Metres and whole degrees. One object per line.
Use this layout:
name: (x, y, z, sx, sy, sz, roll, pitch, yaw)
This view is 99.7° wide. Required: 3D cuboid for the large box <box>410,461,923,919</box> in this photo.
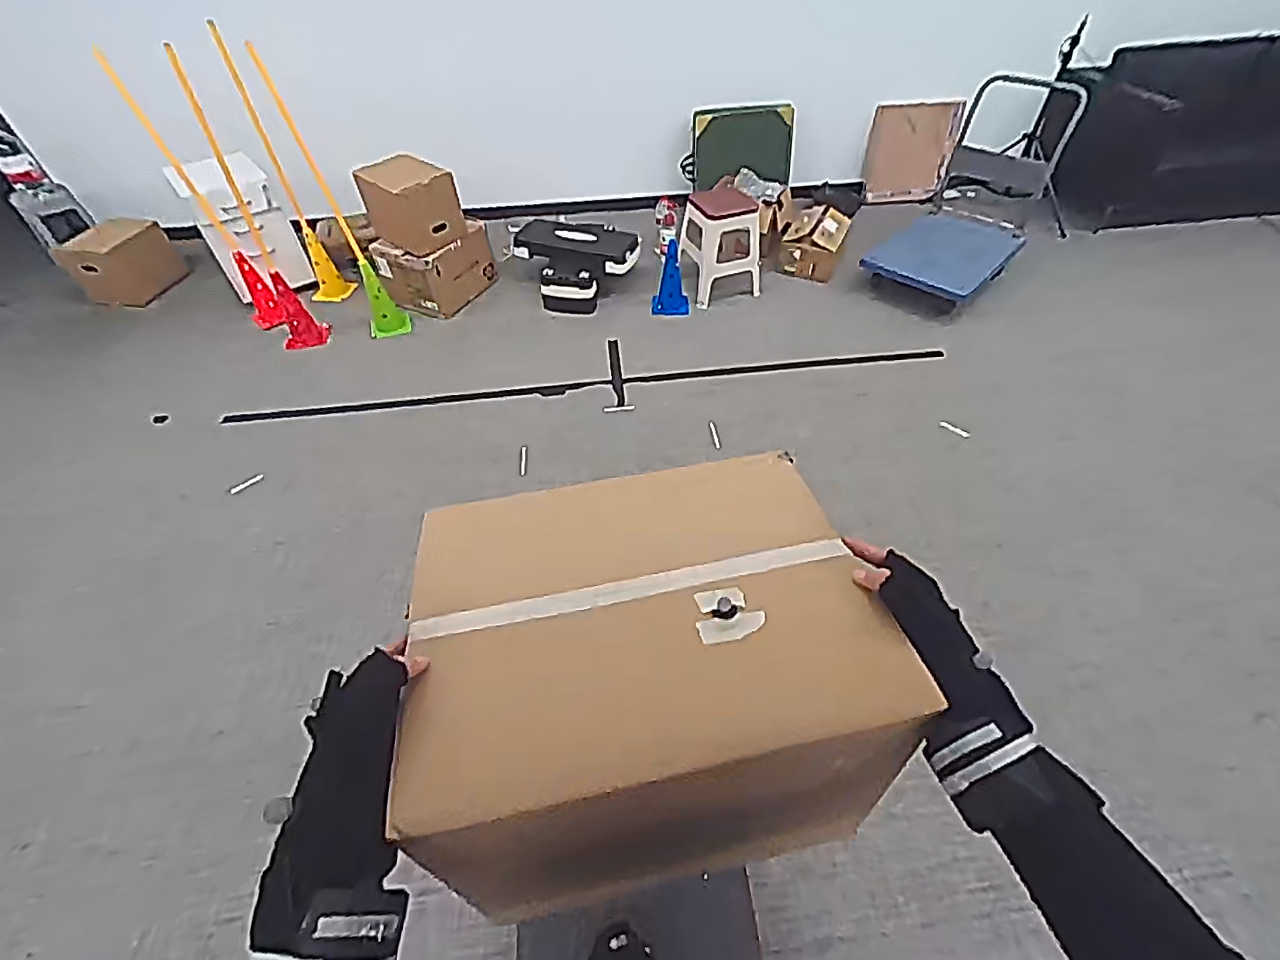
large box: (0.006, 0.220, 0.604, 0.408, 0.320, 0.320, -10, 43, -7)
